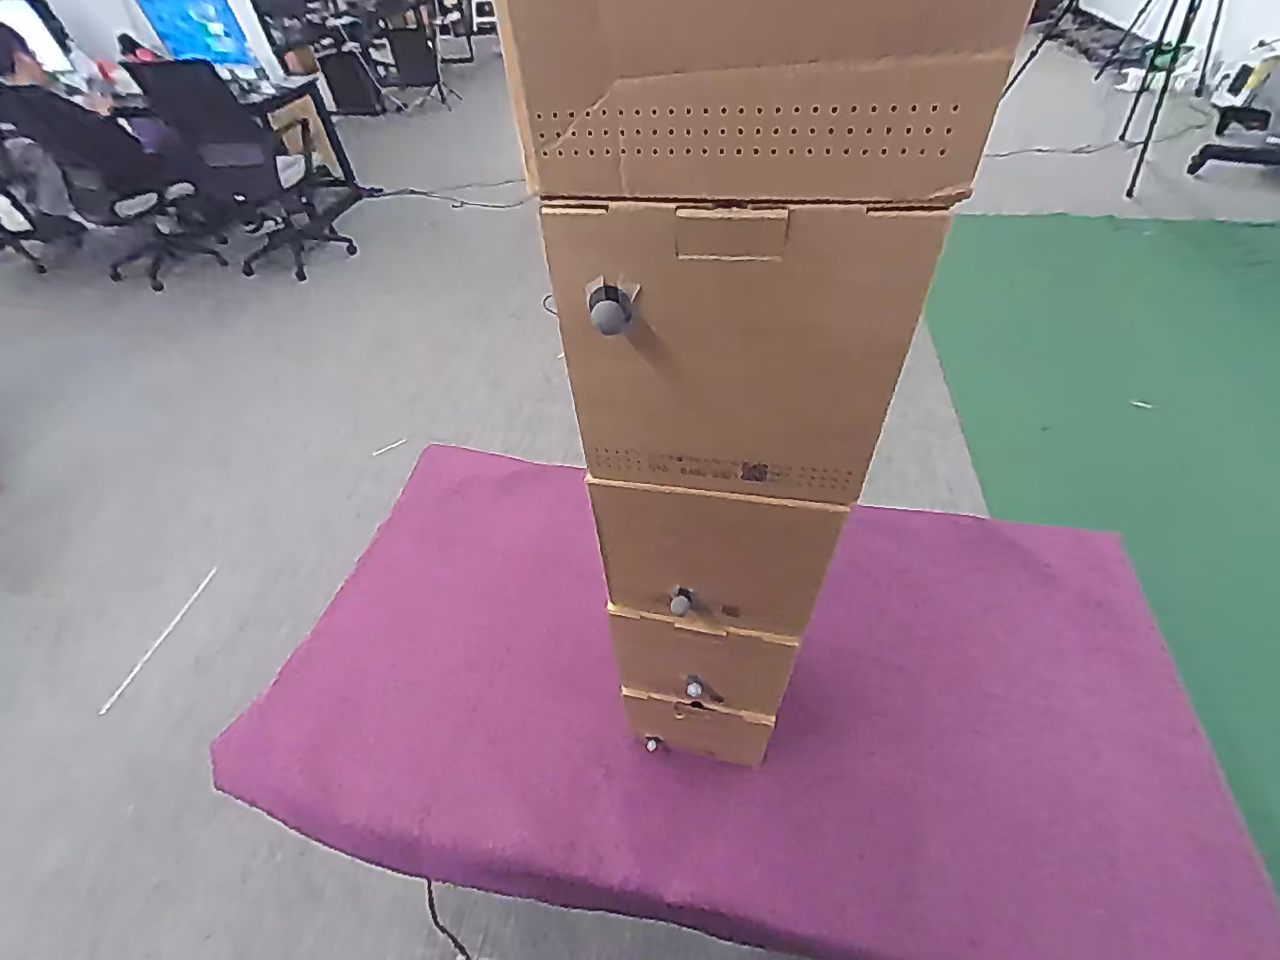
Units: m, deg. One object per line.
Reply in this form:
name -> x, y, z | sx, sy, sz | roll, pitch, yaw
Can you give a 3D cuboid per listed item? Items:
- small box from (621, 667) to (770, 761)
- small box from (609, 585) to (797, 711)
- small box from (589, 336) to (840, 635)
small box -> 0.082, 0.232, 0.689 | 0.168, 0.176, 0.179 | 8, 48, 11
small box -> 0.073, 0.116, 0.574 | 0.168, 0.176, 0.179 | 7, 49, 11
small box -> 0.066, 0.003, 0.457 | 0.168, 0.176, 0.179 | 7, 48, 11
